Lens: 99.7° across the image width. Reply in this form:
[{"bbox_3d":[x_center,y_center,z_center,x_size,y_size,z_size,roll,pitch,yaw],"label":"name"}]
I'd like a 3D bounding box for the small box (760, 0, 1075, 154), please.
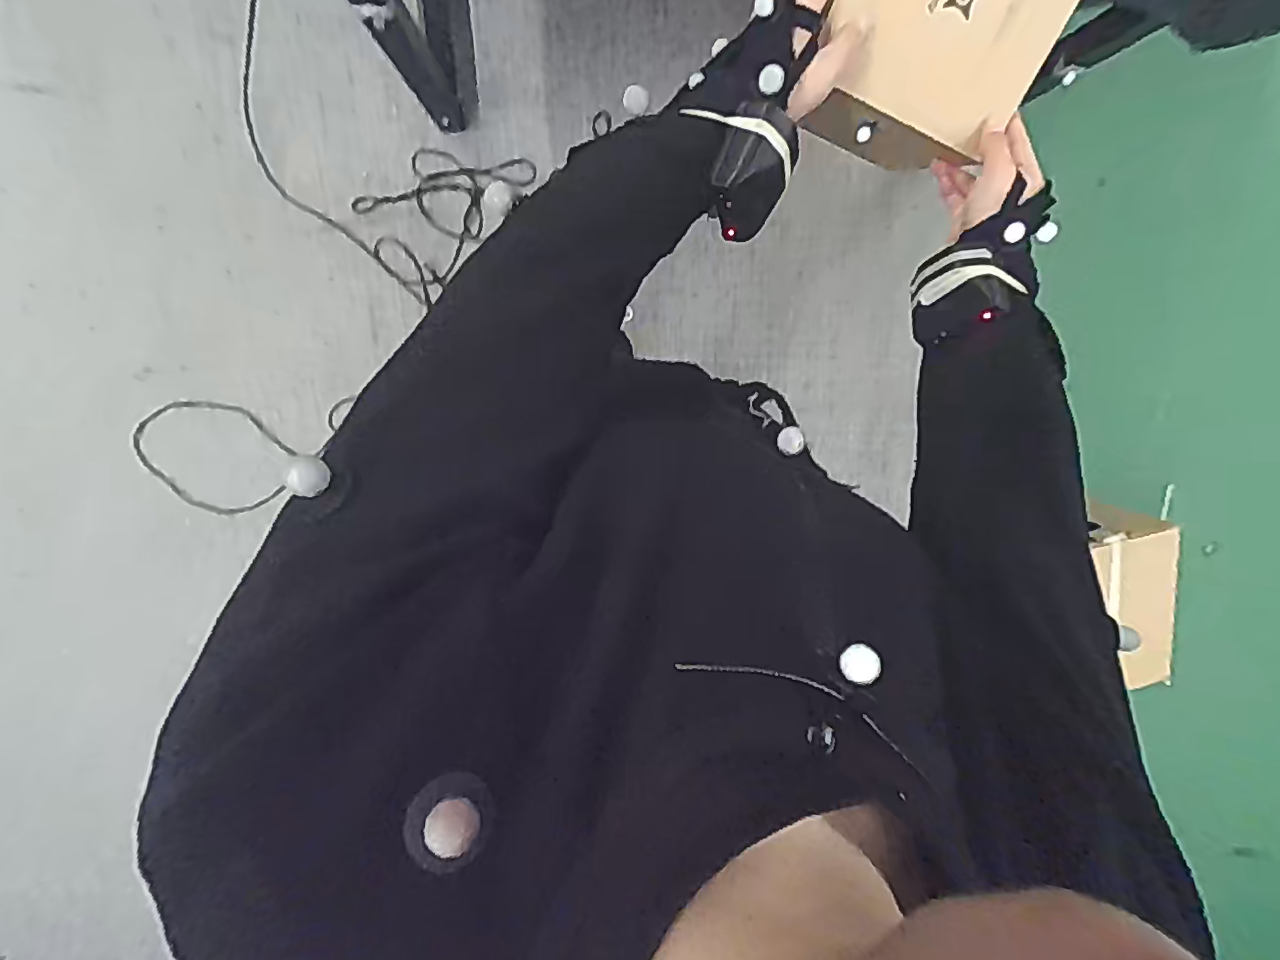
[{"bbox_3d":[0.224,-0.394,0.454,0.179,0.176,0.168,17,116,-13],"label":"small box"}]
